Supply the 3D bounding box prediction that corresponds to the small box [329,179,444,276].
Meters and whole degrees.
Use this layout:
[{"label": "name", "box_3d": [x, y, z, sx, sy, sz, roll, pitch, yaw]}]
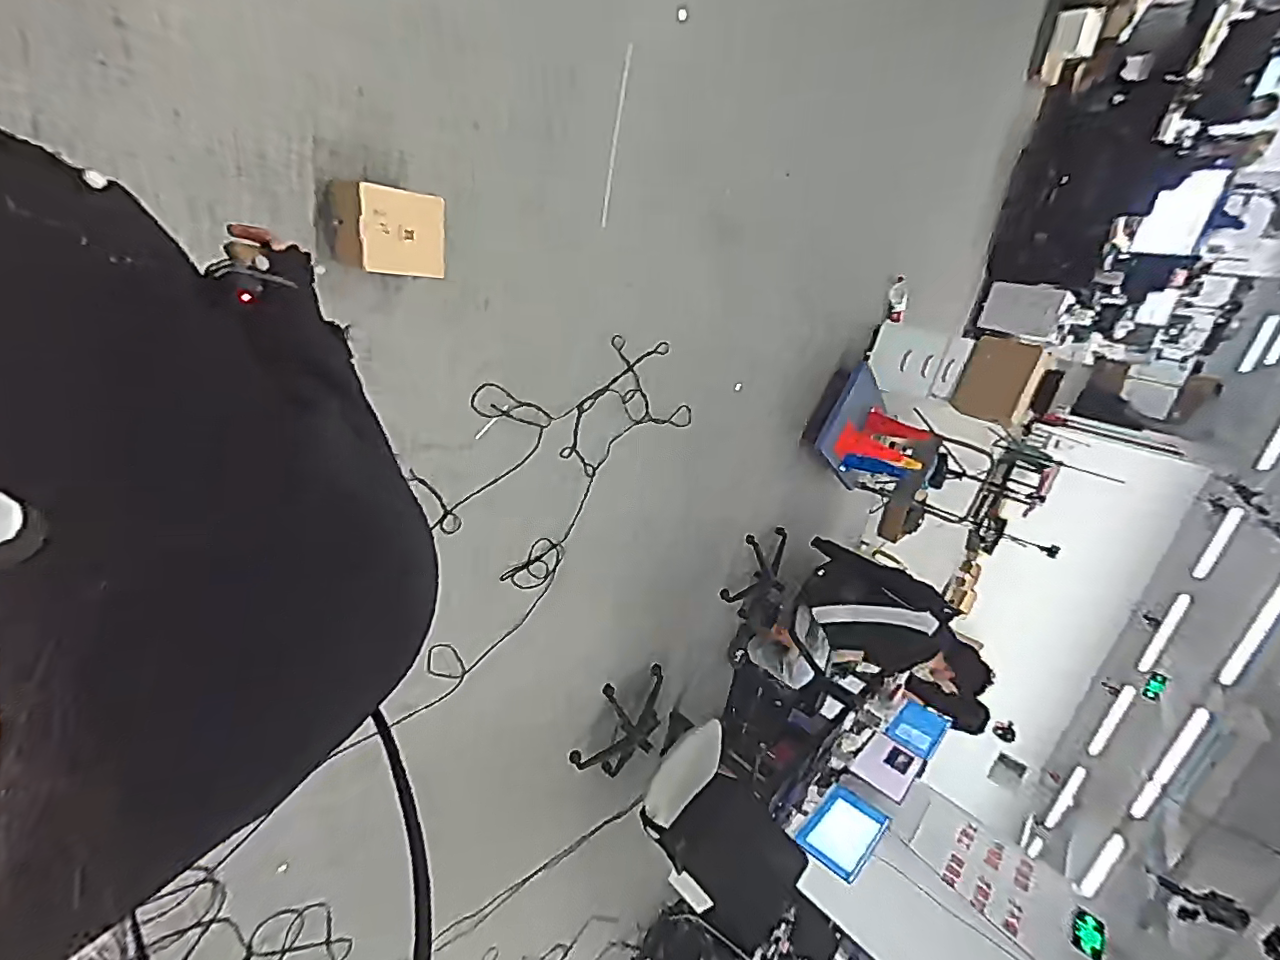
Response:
[{"label": "small box", "box_3d": [-0.548, -0.547, 1.173, 0.179, 0.176, 0.168, -14, 121, -44]}]
